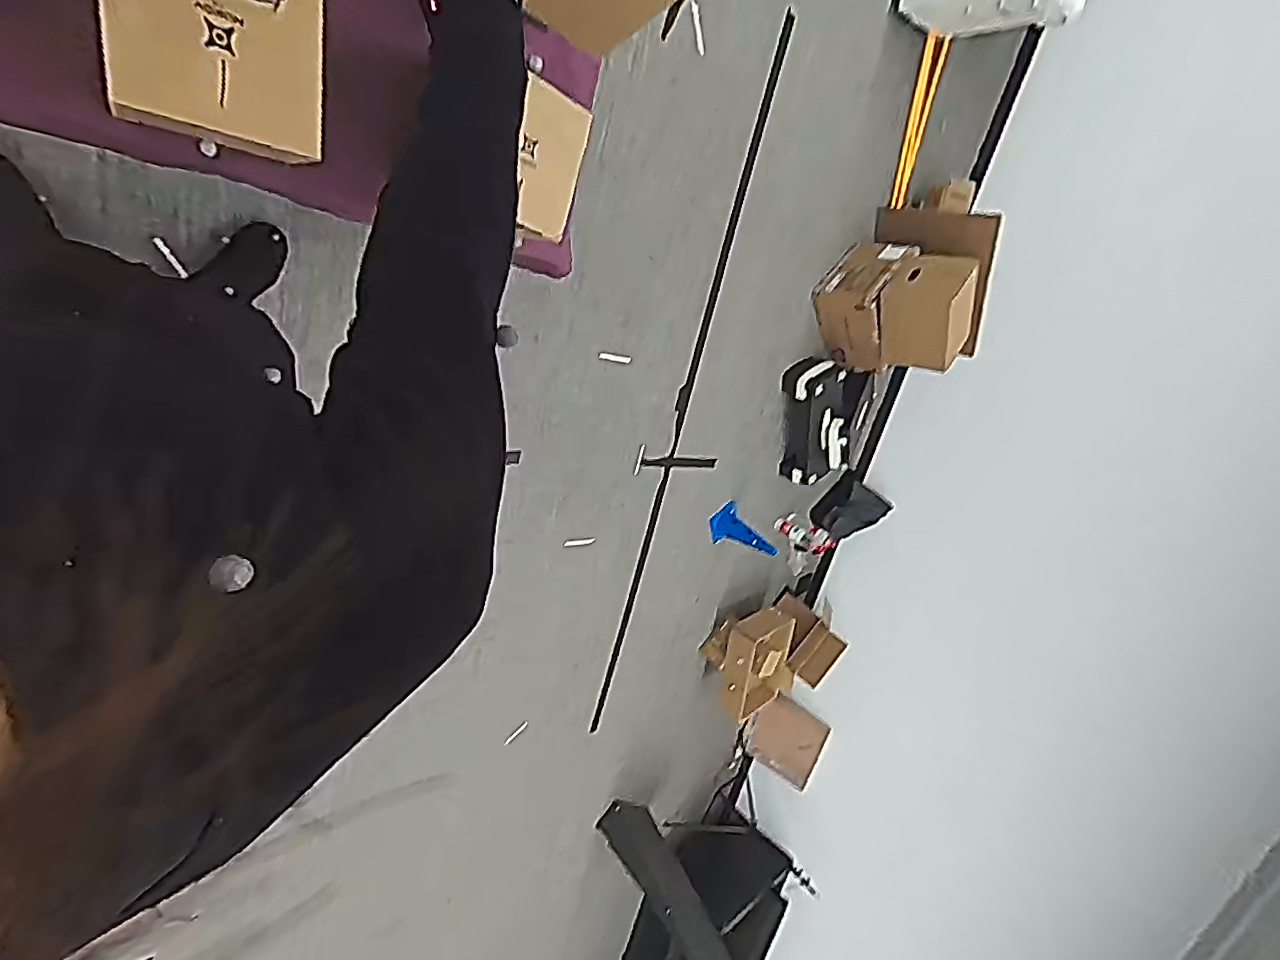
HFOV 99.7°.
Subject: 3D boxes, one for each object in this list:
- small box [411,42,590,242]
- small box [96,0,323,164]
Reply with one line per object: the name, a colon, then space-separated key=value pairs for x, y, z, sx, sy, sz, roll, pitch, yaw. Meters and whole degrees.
small box: x=-0.201 y=-0.457 z=0.759 sx=0.168 sy=0.176 sz=0.179 roll=5 pitch=108 yaw=-43
small box: x=-0.435 y=-0.442 z=0.549 sx=0.168 sy=0.176 sz=0.179 roll=-5 pitch=116 yaw=-41
